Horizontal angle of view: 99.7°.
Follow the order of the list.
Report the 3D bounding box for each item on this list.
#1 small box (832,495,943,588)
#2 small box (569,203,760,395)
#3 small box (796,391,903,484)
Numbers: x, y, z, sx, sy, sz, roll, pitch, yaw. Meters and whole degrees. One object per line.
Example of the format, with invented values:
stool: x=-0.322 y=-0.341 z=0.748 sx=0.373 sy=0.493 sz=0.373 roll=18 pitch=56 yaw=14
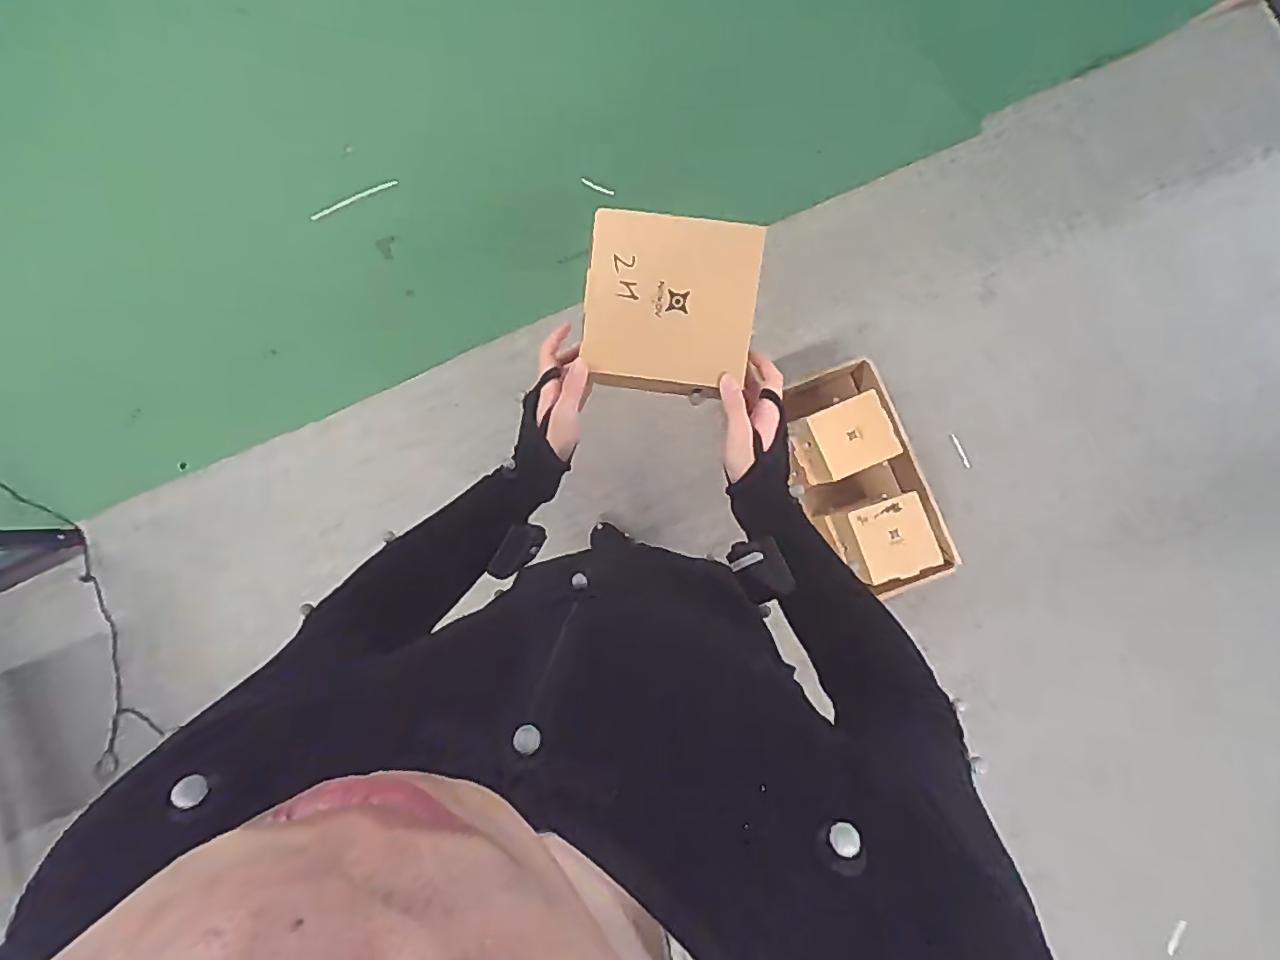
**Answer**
small box: x=0.584 y=0.144 z=1.300 sx=0.168 sy=0.176 sz=0.179 roll=-18 pitch=84 yaw=3
small box: x=0.027 y=-0.193 z=0.625 sx=0.179 sy=0.176 sz=0.168 roll=8 pitch=95 yaw=3
small box: x=0.502 y=-0.097 z=1.331 sx=0.179 sy=0.176 sz=0.168 roll=-23 pitch=86 yaw=2
